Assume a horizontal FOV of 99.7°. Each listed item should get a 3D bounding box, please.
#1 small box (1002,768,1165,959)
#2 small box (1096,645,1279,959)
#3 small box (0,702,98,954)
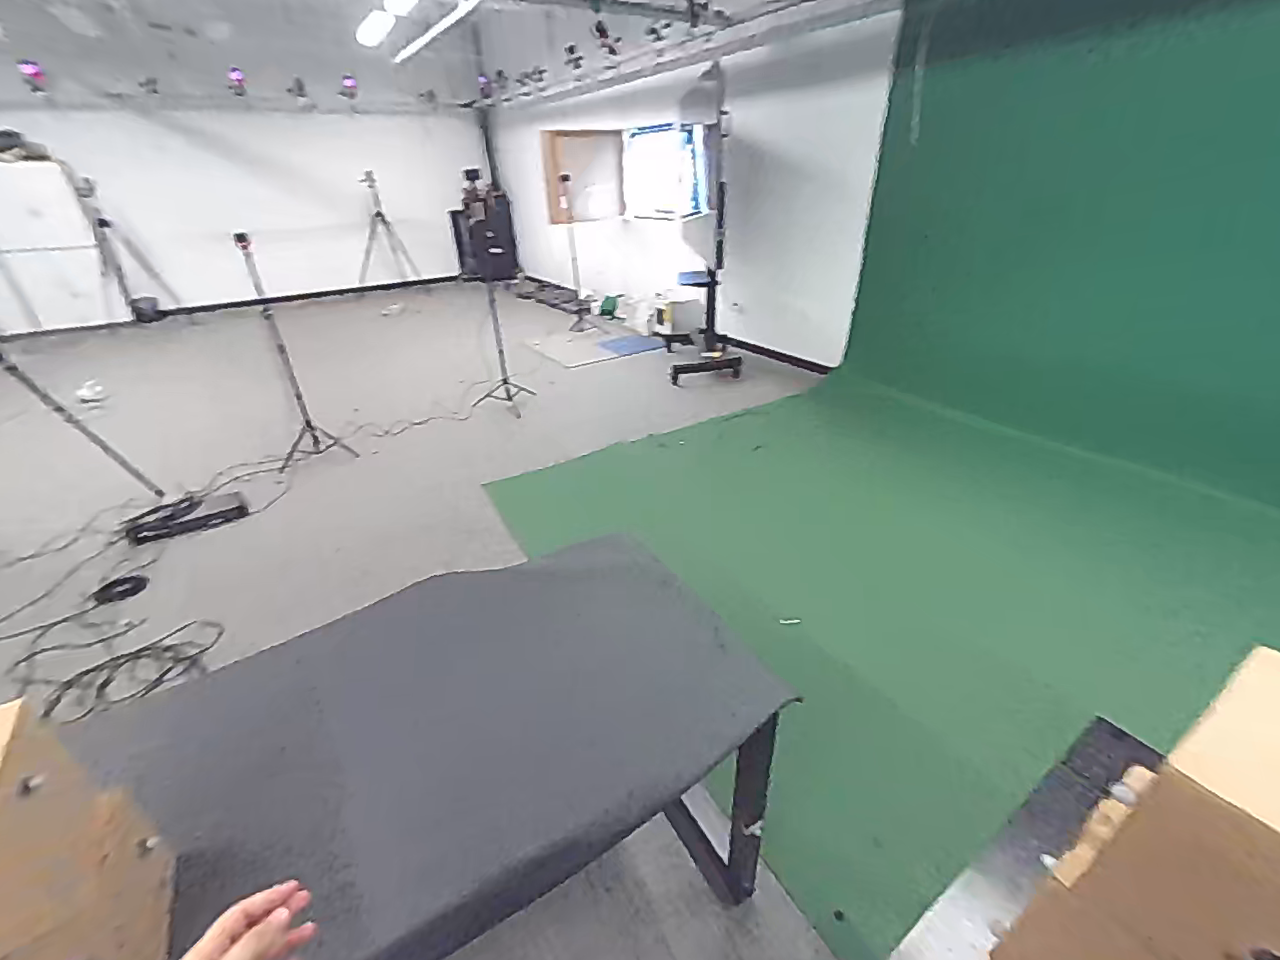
[{"bbox_3d":[0.437,0.385,0.429,0.168,0.176,0.179,-20,34,-27],"label":"small box"},{"bbox_3d":[0.436,0.248,0.339,0.179,0.176,0.168,-20,34,-25],"label":"small box"},{"bbox_3d":[-0.693,0.372,0.538,0.168,0.176,0.179,-21,32,-31],"label":"small box"}]
